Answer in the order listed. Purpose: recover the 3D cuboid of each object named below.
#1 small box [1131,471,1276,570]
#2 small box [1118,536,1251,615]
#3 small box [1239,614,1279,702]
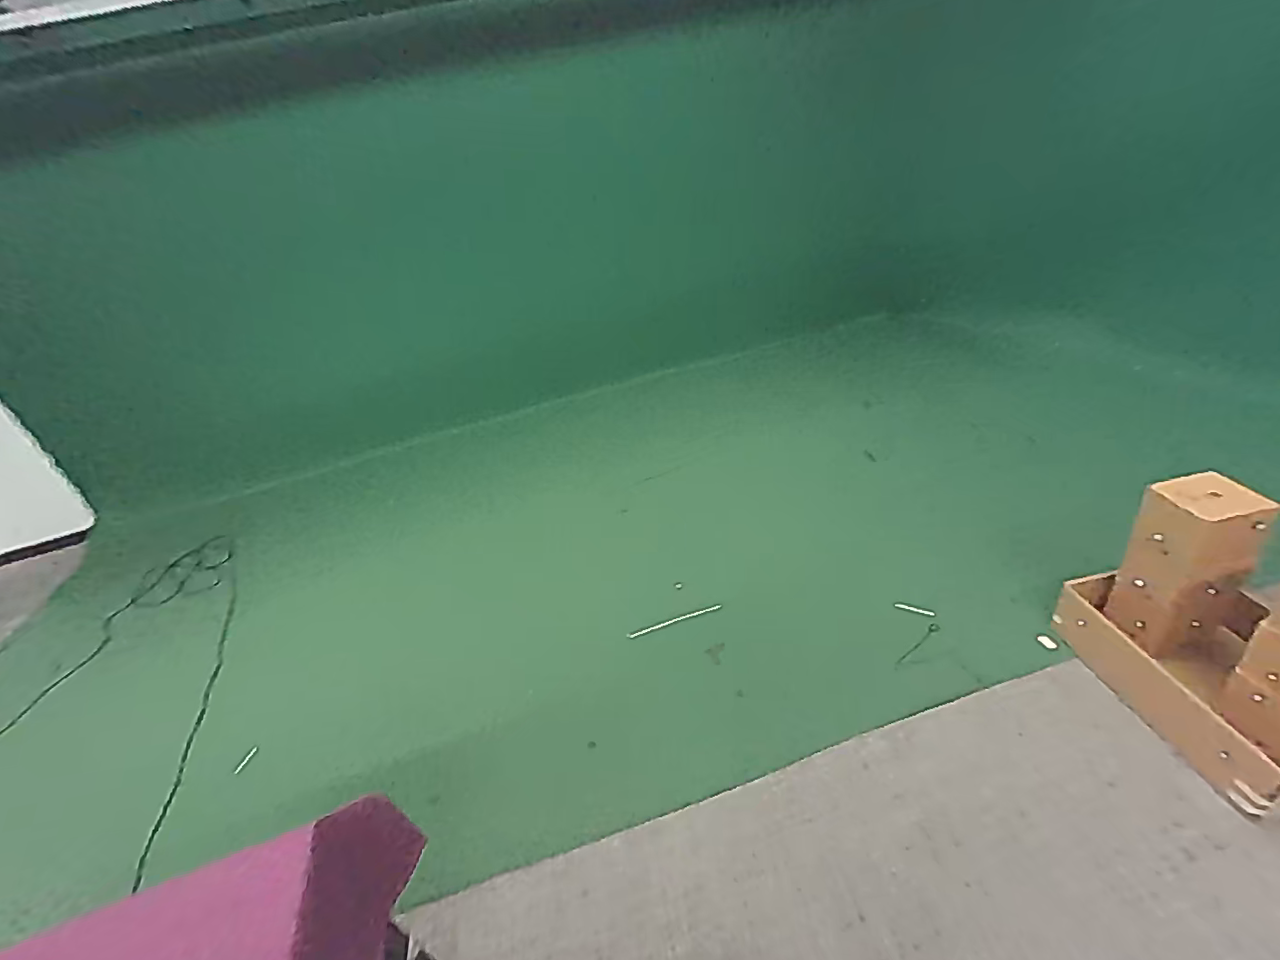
[{"bbox_3d":[1.429,0.104,1.388,0.179,0.176,0.168,-13,32,2],"label":"small box"},{"bbox_3d":[1.465,0.241,1.471,0.179,0.176,0.168,-13,32,4],"label":"small box"},{"bbox_3d":[1.508,0.404,1.193,0.179,0.176,0.168,-14,31,0],"label":"small box"}]
